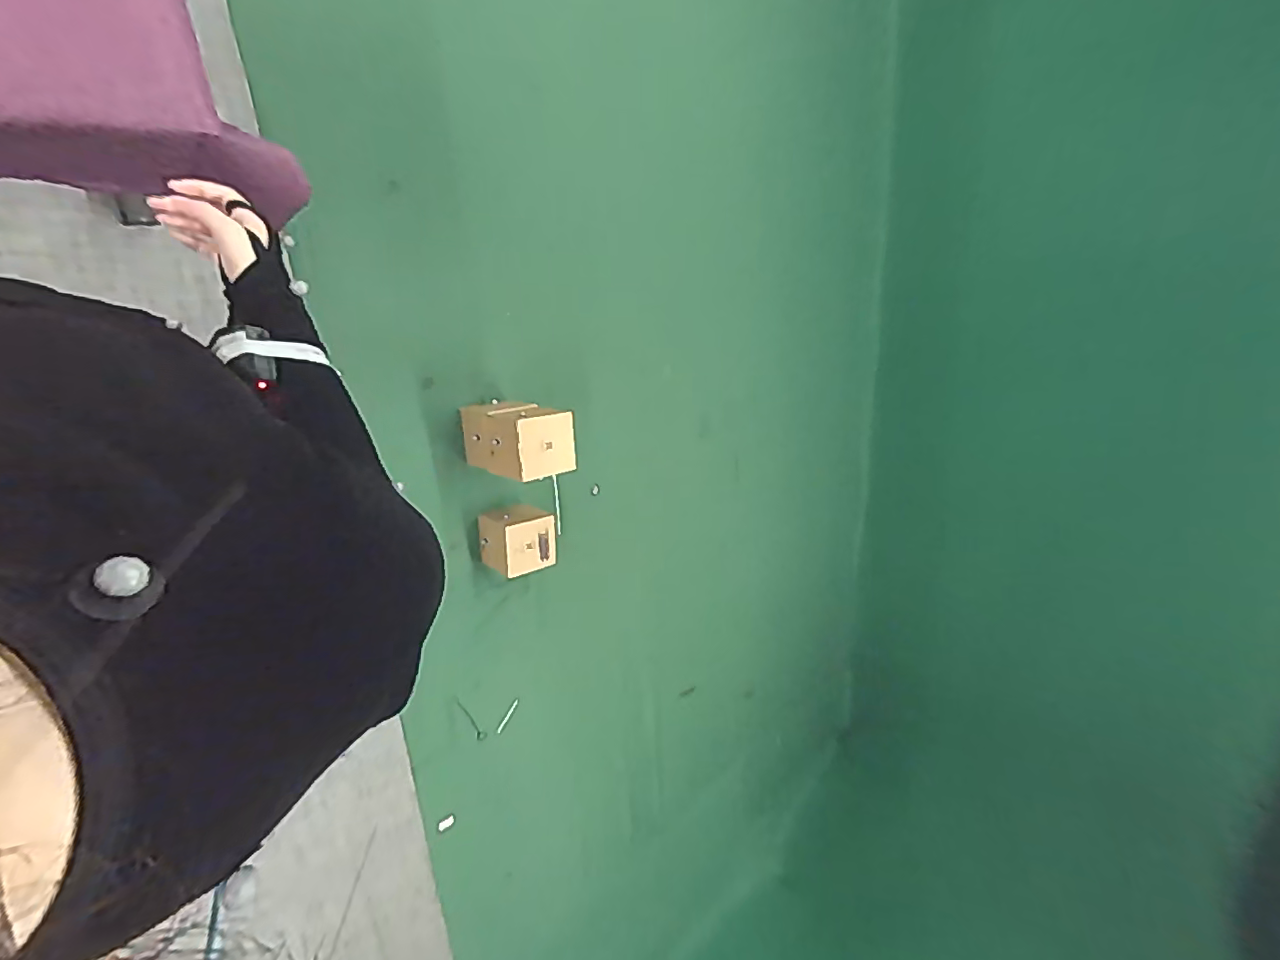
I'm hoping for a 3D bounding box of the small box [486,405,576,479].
[{"bbox_3d":[-0.301,-0.111,1.493,0.179,0.176,0.168,-17,111,-40],"label":"small box"}]

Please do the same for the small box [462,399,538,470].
[{"bbox_3d":[-0.410,-0.142,1.610,0.168,0.176,0.179,-17,111,-41],"label":"small box"}]
